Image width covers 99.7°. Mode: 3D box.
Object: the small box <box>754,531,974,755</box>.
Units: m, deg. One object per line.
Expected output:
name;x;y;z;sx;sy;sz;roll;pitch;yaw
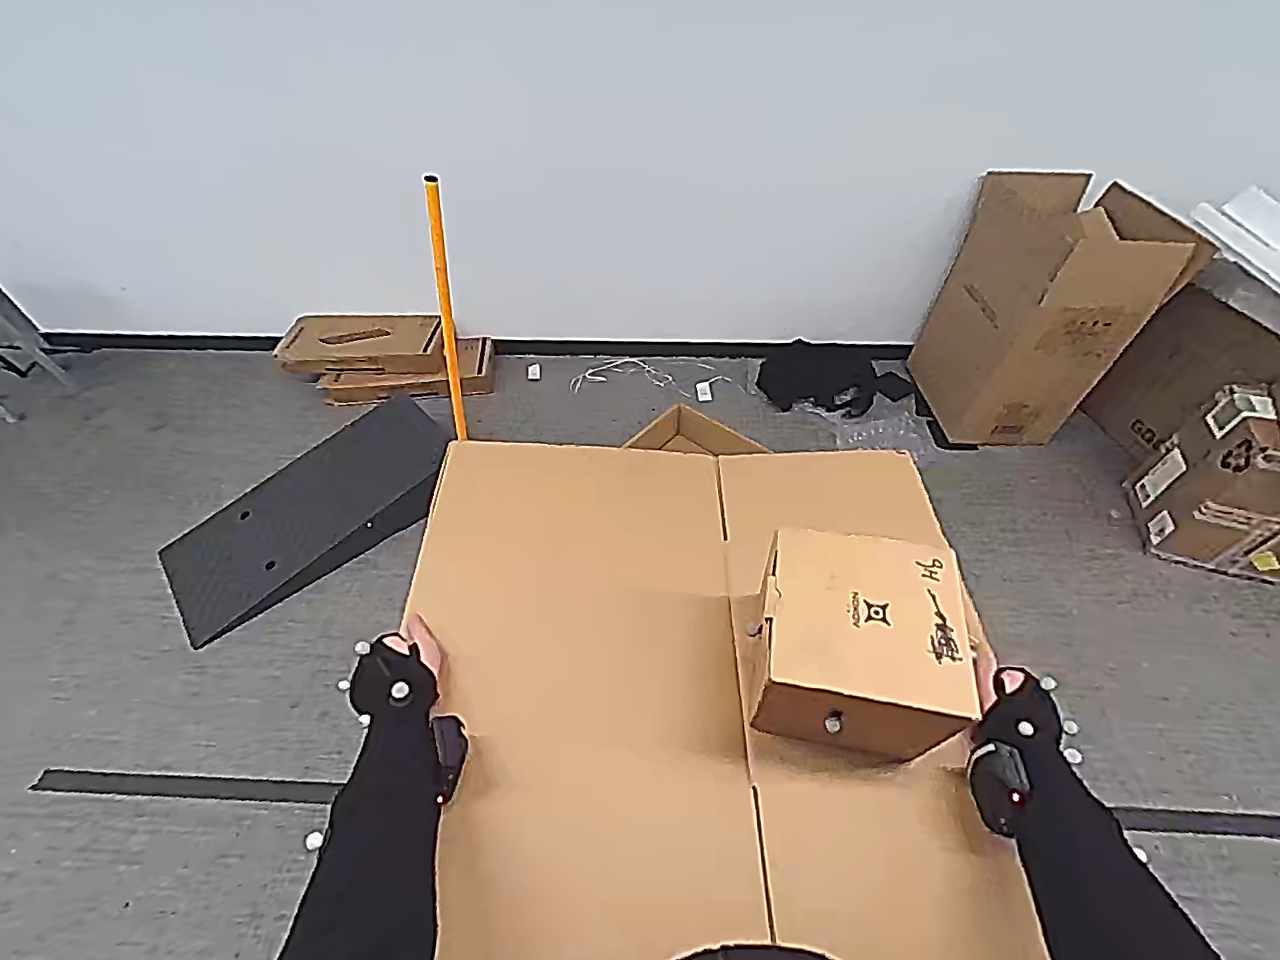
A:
small box;0.220;0.176;0.577;0.179;0.176;0.168;7;53;11
